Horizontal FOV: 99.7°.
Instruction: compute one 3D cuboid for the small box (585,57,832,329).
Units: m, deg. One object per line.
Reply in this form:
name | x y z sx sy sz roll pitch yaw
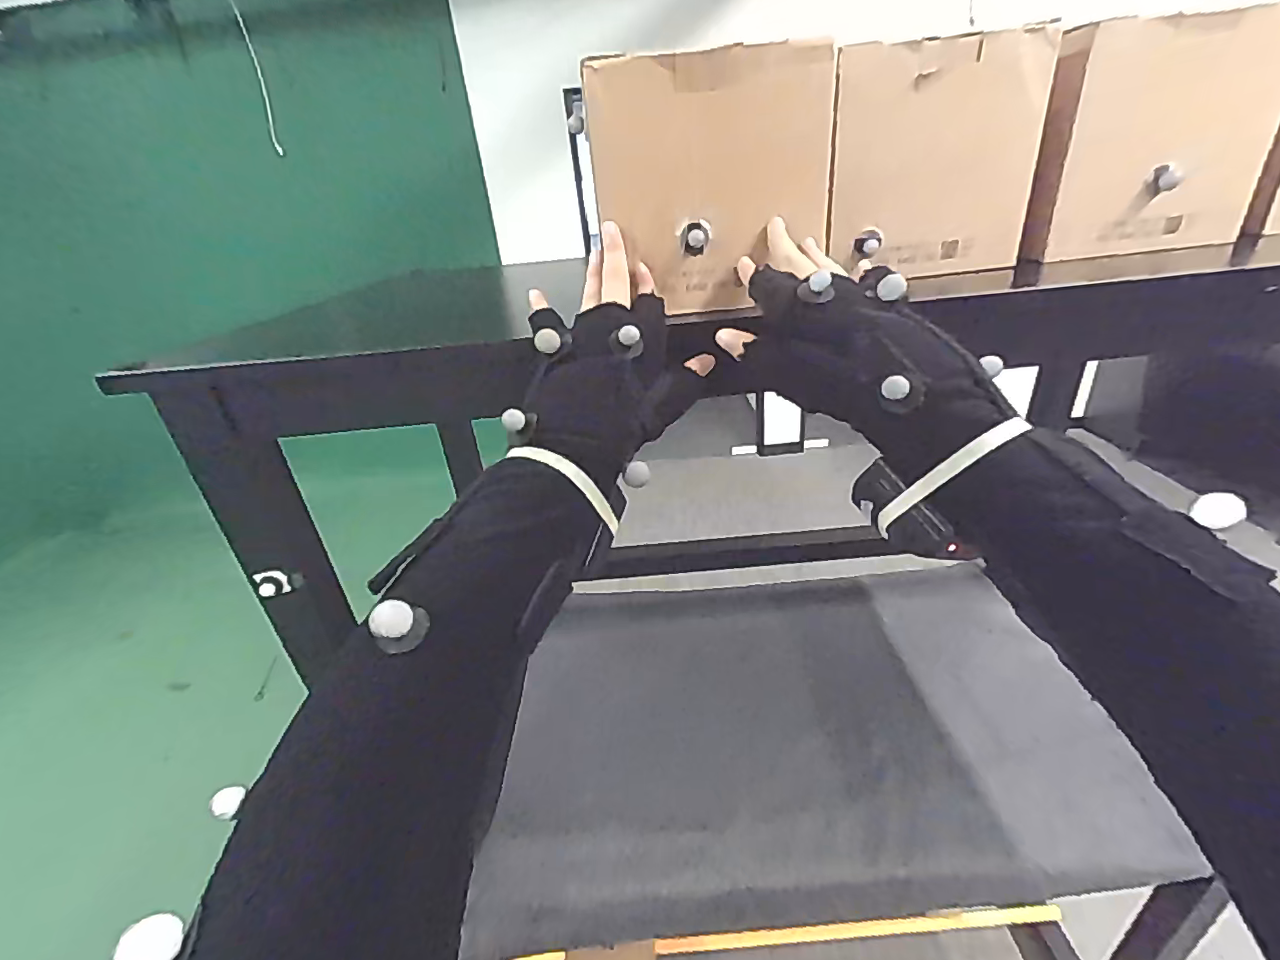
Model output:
small box | 0.048 -0.233 0.462 0.168 0.176 0.179 -6 28 0
